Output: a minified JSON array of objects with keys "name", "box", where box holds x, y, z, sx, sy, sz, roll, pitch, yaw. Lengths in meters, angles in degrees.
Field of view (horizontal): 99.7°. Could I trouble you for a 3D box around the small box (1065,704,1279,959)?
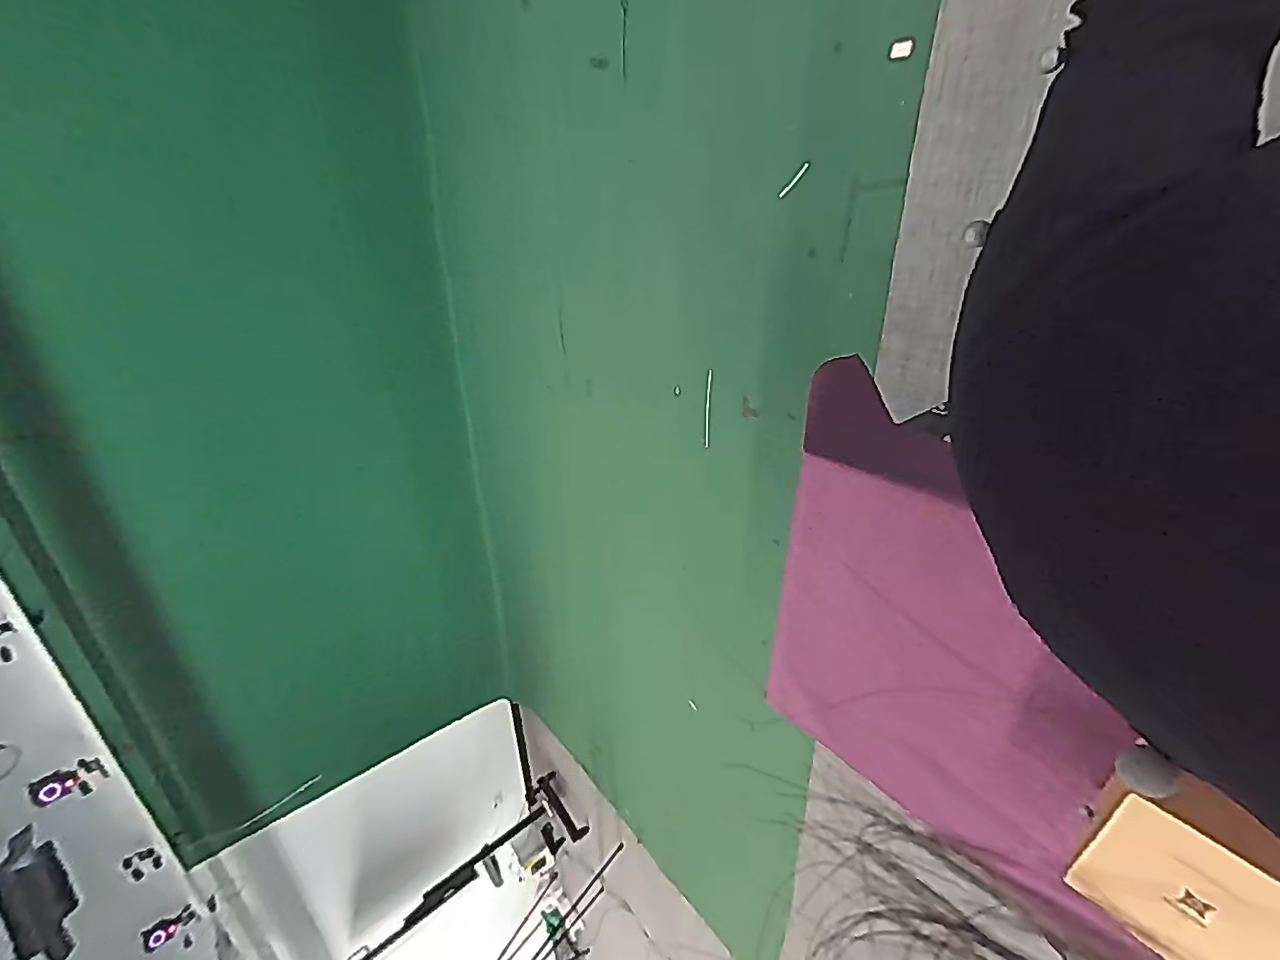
[{"name":"small box","box":[0.610,0.387,0.581,0.168,0.176,0.179,31,129,41]}]
